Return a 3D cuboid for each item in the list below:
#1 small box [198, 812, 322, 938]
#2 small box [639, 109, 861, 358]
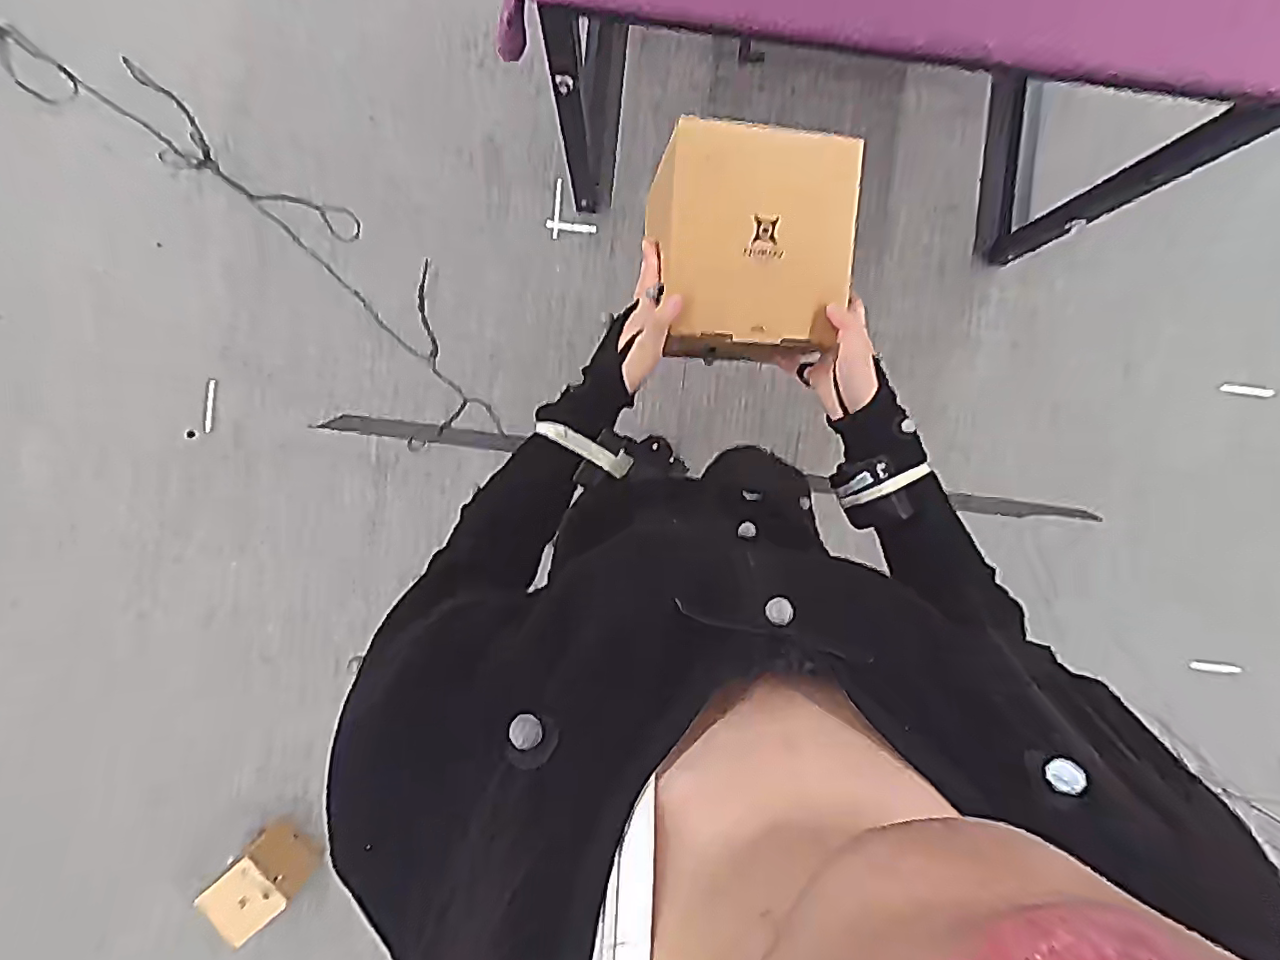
[{"bbox_3d":[-1.011,1.055,1.456,0.179,0.176,0.168,-40,93,1],"label":"small box"},{"bbox_3d":[0.094,-0.225,0.542,0.168,0.176,0.179,2,97,-9],"label":"small box"}]
